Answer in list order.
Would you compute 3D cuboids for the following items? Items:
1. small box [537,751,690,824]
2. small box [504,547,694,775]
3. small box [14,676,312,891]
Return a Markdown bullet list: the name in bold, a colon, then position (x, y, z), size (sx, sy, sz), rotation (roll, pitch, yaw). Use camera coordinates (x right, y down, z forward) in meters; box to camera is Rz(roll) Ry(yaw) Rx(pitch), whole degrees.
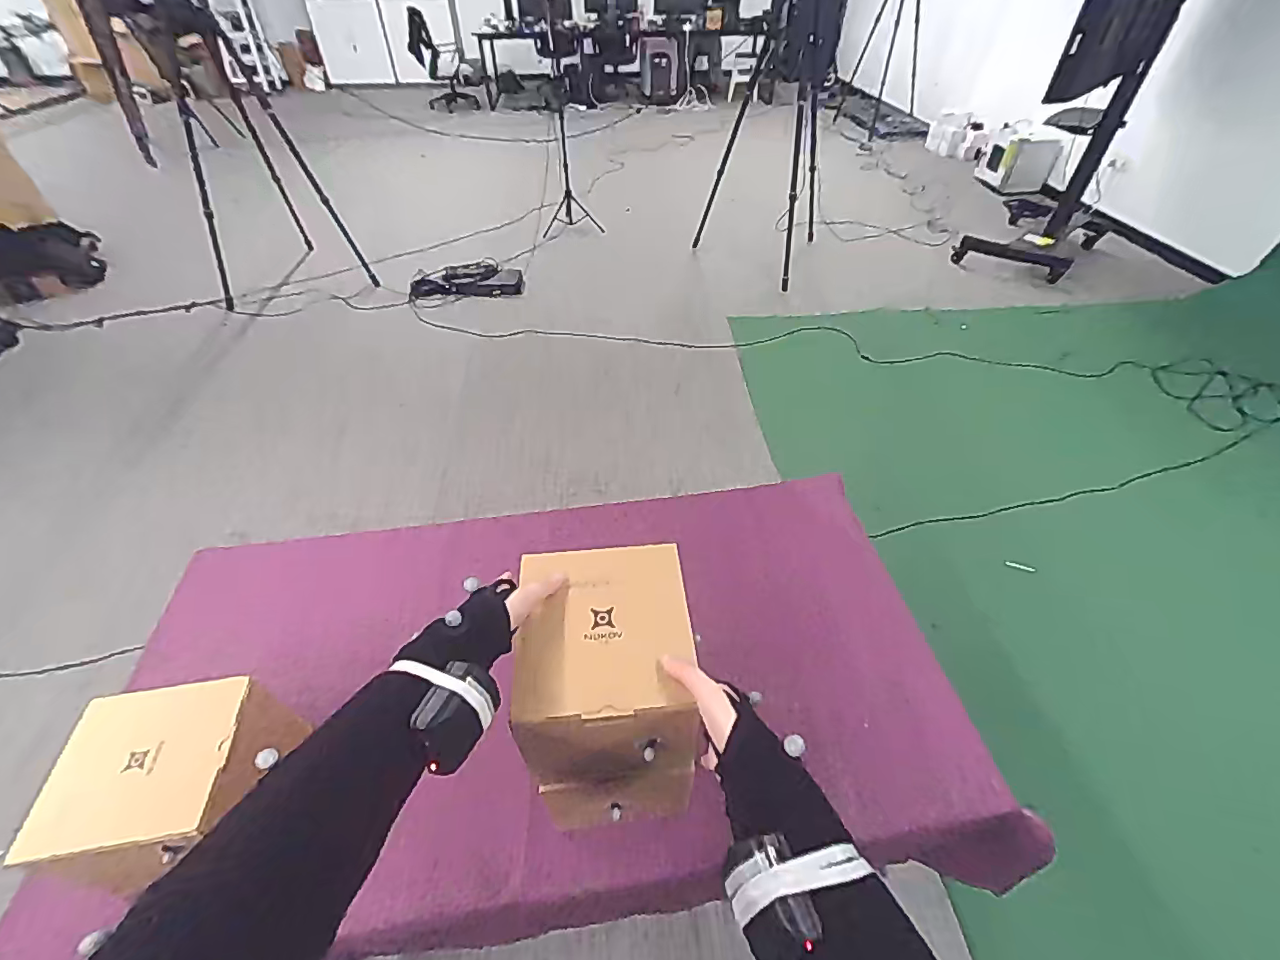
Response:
- **small box**: position (-0.033, 0.312, 0.680), size (0.168, 0.176, 0.179), rotation (-5, 44, -4)
- **small box**: position (-0.037, 0.193, 0.569), size (0.168, 0.176, 0.179), rotation (-3, 45, -3)
- **small box**: position (-0.533, 0.361, 0.641), size (0.179, 0.176, 0.168), rotation (-7, 44, -7)
